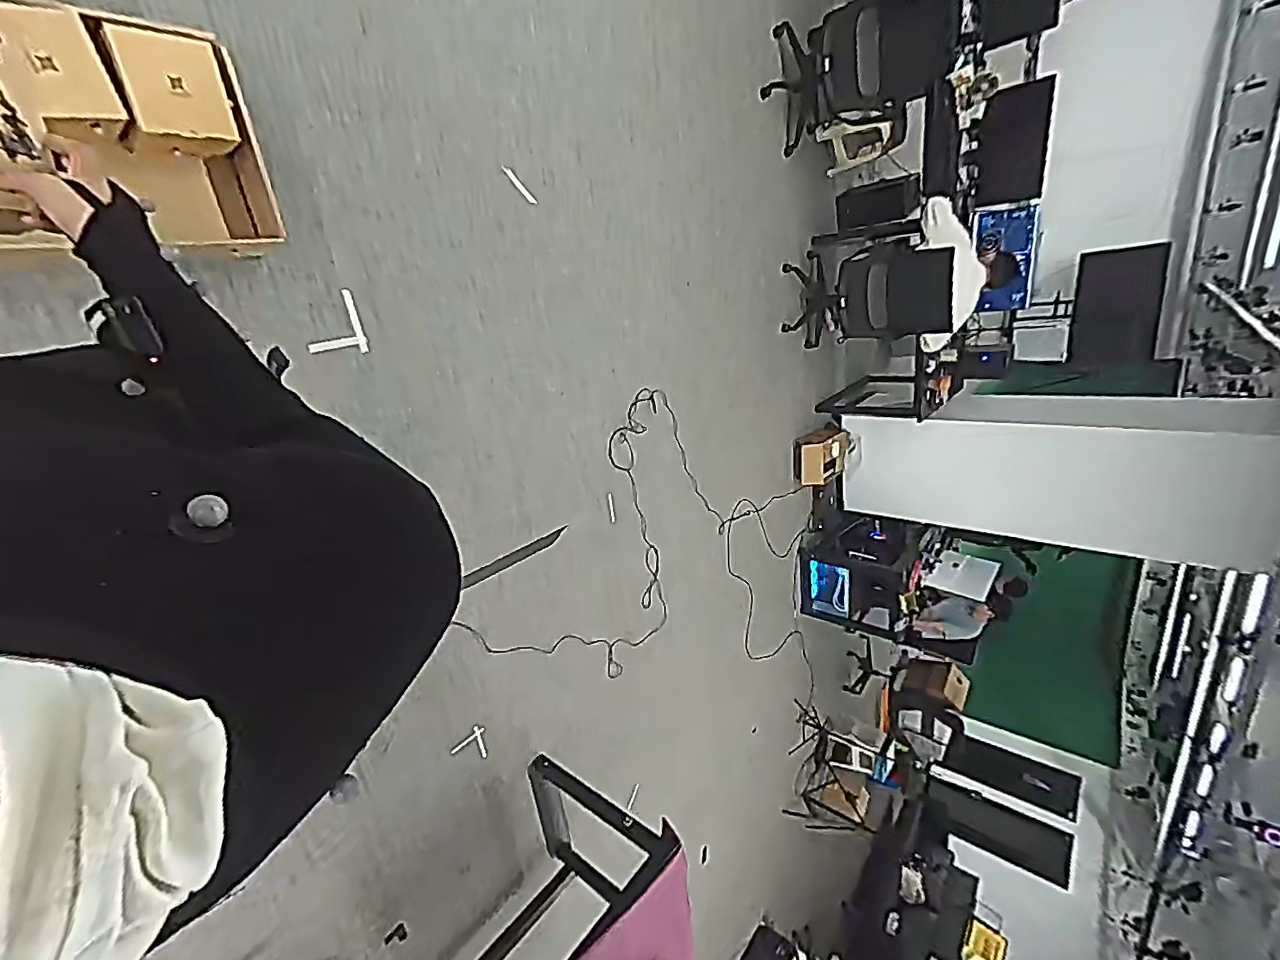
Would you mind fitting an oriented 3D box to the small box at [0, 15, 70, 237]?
[{"bbox_3d":[-0.656,-0.314,0.465,0.179,0.176,0.168,-24,117,-55],"label":"small box"}]
